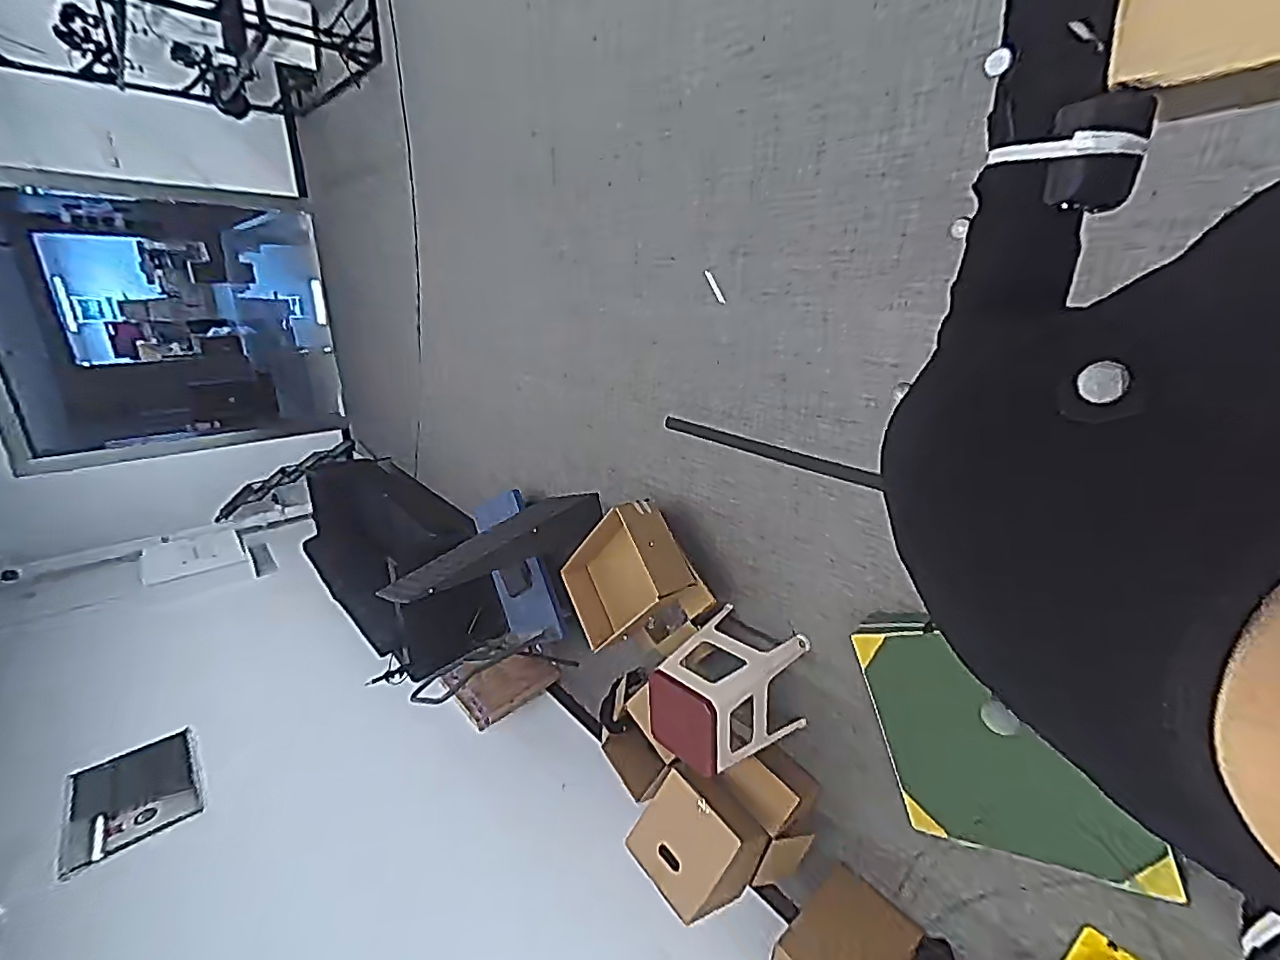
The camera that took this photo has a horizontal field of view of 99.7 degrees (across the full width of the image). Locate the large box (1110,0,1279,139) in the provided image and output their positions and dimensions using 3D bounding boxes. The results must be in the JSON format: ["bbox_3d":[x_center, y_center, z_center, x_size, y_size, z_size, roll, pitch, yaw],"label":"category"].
[{"bbox_3d":[0.540,-0.408,0.275,0.408,0.320,0.320,13,121,43],"label":"large box"}]
